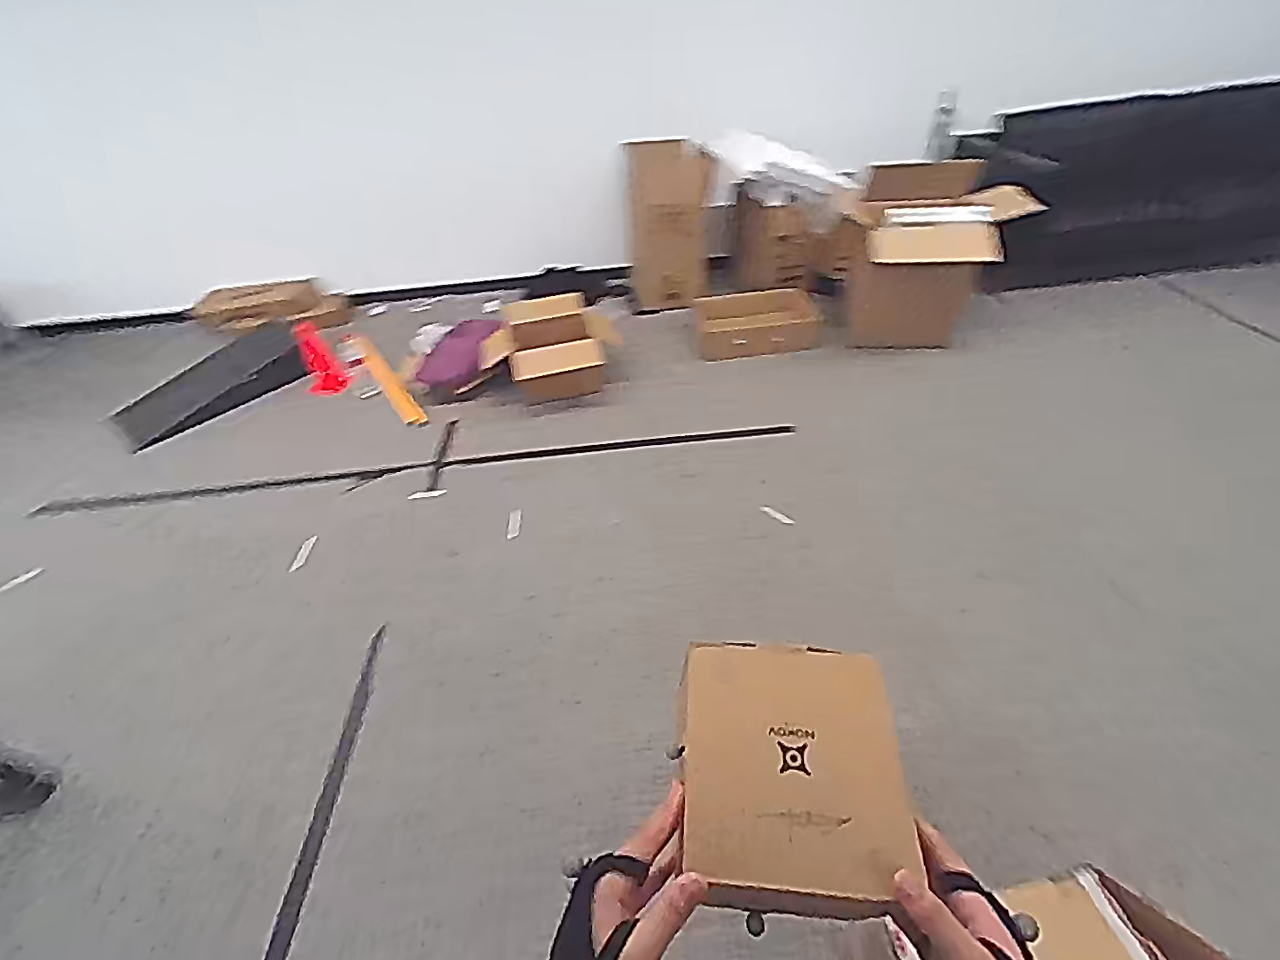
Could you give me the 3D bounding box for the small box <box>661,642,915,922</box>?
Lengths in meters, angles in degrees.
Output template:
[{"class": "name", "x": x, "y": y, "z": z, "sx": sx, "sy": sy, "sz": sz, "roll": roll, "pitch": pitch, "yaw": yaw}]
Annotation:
[{"class": "small box", "x": 0.106, "y": 0.266, "z": 0.477, "sx": 0.168, "sy": 0.176, "sz": 0.179, "roll": 3, "pitch": 48, "yaw": 2}]
